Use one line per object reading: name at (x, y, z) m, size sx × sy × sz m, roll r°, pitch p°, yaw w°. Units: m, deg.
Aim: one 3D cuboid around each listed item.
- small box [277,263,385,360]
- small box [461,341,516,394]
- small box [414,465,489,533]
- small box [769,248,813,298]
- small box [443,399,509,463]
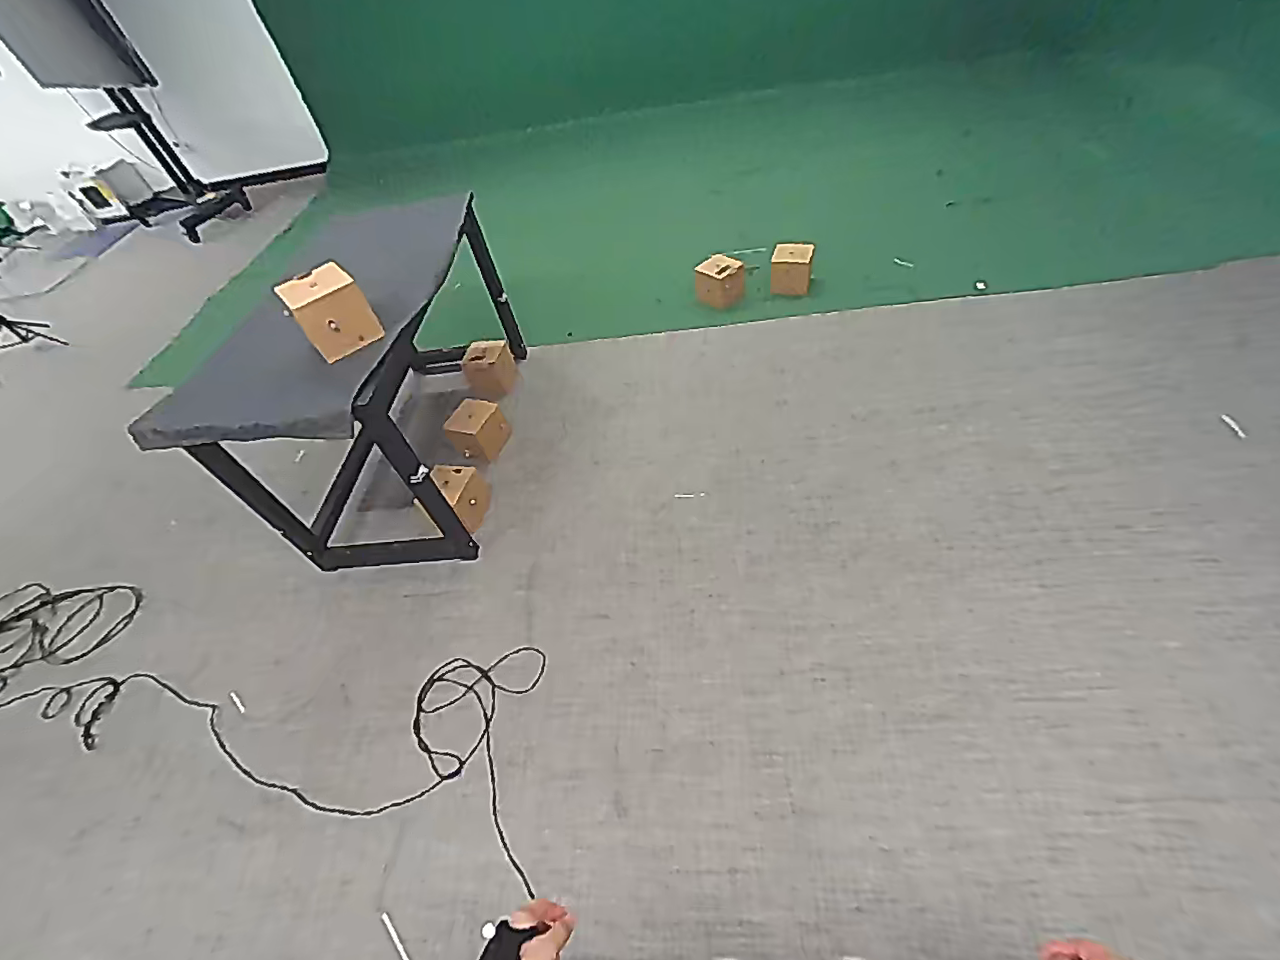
small box at (-0.816, -0.444, 1.440) m, size 0.168 × 0.176 × 0.179 m, roll -37°, pitch 53°, yaw -20°
small box at (-0.673, -0.500, 2.428) m, size 0.168 × 0.176 × 0.179 m, roll 0°, pitch 49°, yaw 10°
small box at (-0.665, 0.071, 1.938) m, size 0.168 × 0.176 × 0.179 m, roll 5°, pitch 52°, yaw 14°
small box at (0.719, -0.987, 2.581) m, size 0.179 × 0.176 × 0.168 m, roll 11°, pitch 53°, yaw 19°
small box at (-0.644, -0.194, 2.161) m, size 0.168 × 0.176 × 0.179 m, roll 11°, pitch 54°, yaw 20°
